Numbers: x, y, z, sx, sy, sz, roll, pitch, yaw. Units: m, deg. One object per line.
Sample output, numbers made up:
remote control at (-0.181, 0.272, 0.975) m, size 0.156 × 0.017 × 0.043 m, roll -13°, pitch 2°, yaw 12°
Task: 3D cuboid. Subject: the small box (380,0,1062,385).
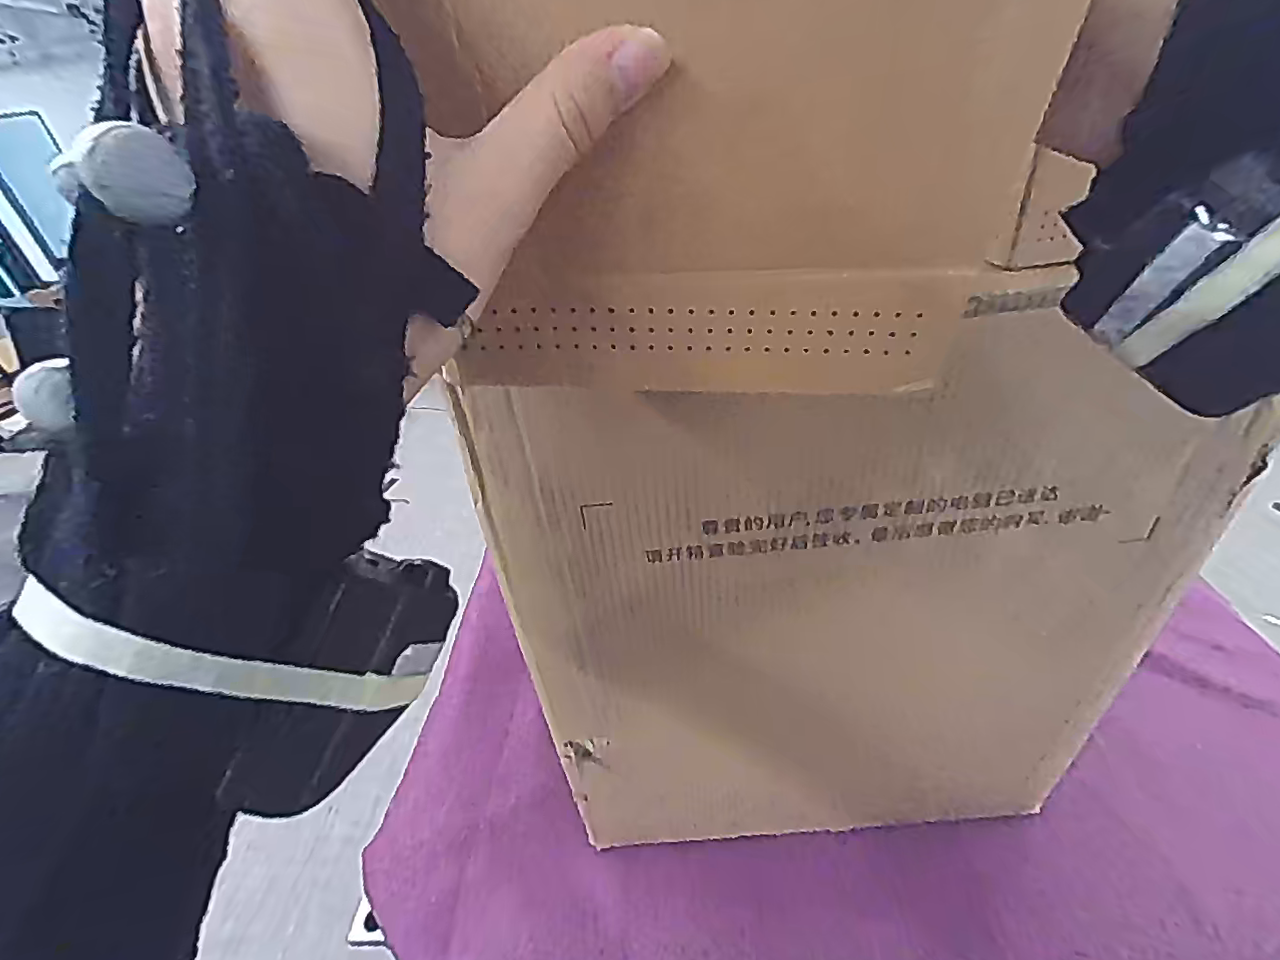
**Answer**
small box at (0.021, -0.147, 0.195) m, size 0.179 × 0.176 × 0.168 m, roll 2°, pitch 44°, yaw 2°
